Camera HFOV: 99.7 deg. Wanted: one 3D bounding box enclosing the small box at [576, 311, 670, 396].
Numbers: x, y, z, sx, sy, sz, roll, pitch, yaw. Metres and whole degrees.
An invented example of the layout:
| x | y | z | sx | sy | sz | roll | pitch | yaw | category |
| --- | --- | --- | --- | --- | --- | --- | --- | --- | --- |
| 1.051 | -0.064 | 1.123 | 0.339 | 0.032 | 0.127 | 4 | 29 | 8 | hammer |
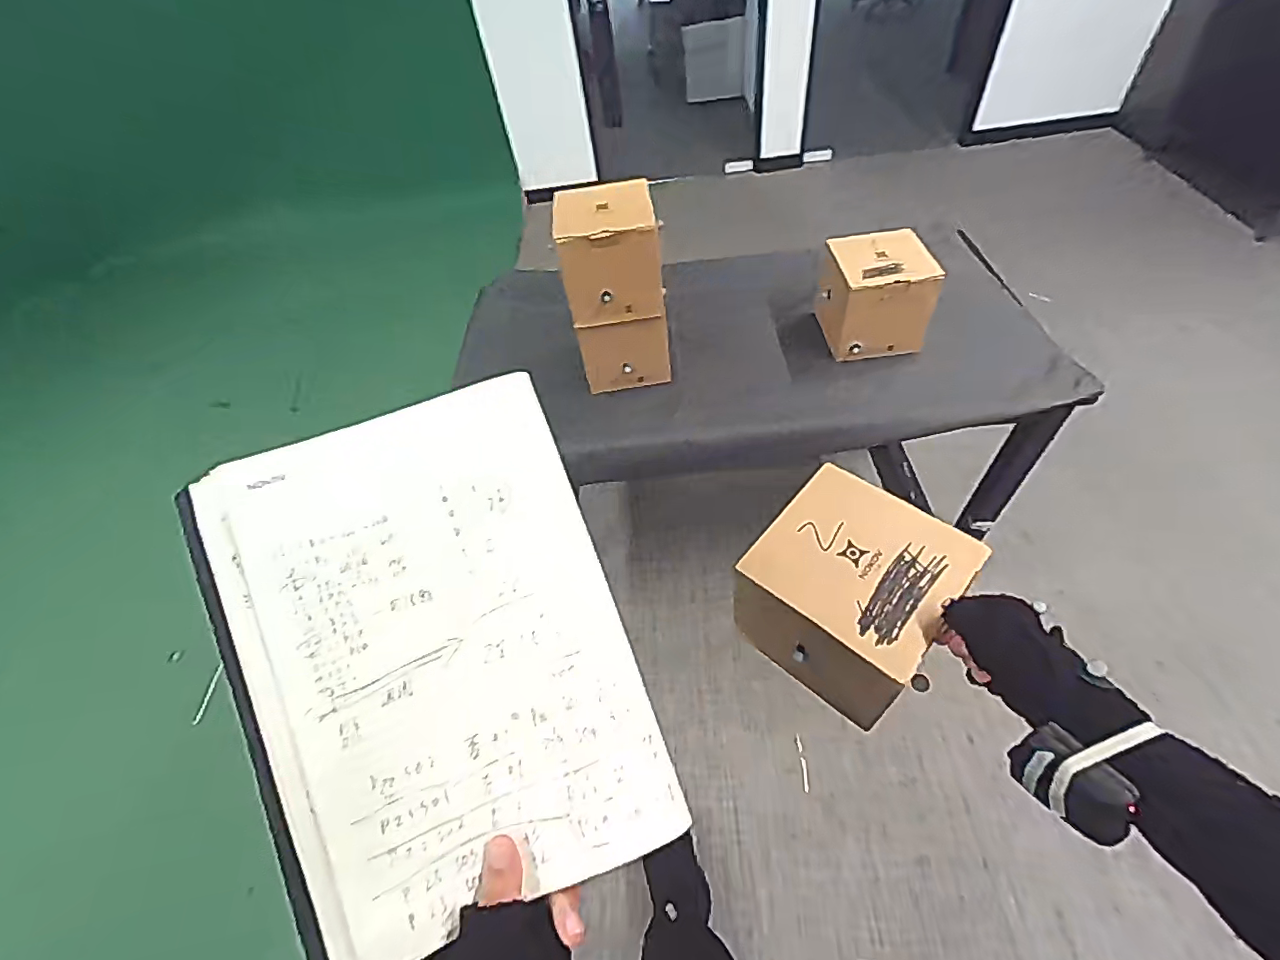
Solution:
| x | y | z | sx | sy | sz | roll | pitch | yaw | category |
| --- | --- | --- | --- | --- | --- | --- | --- | --- | --- |
| -0.035 | -0.296 | 1.095 | 0.168 | 0.176 | 0.179 | -9 | 50 | 1 | small box |

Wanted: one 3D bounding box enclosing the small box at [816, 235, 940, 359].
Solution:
| x | y | z | sx | sy | sz | roll | pitch | yaw | category |
| --- | --- | --- | --- | --- | --- | --- | --- | --- | --- |
| 0.458 | -0.354 | 1.071 | 0.168 | 0.176 | 0.179 | -6 | 49 | 3 | small box |

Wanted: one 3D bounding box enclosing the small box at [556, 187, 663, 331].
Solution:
| x | y | z | sx | sy | sz | roll | pitch | yaw | category |
| --- | --- | --- | --- | --- | --- | --- | --- | --- | --- |
| -0.052 | -0.392 | 0.965 | 0.168 | 0.176 | 0.179 | -8 | 50 | 1 | small box |
